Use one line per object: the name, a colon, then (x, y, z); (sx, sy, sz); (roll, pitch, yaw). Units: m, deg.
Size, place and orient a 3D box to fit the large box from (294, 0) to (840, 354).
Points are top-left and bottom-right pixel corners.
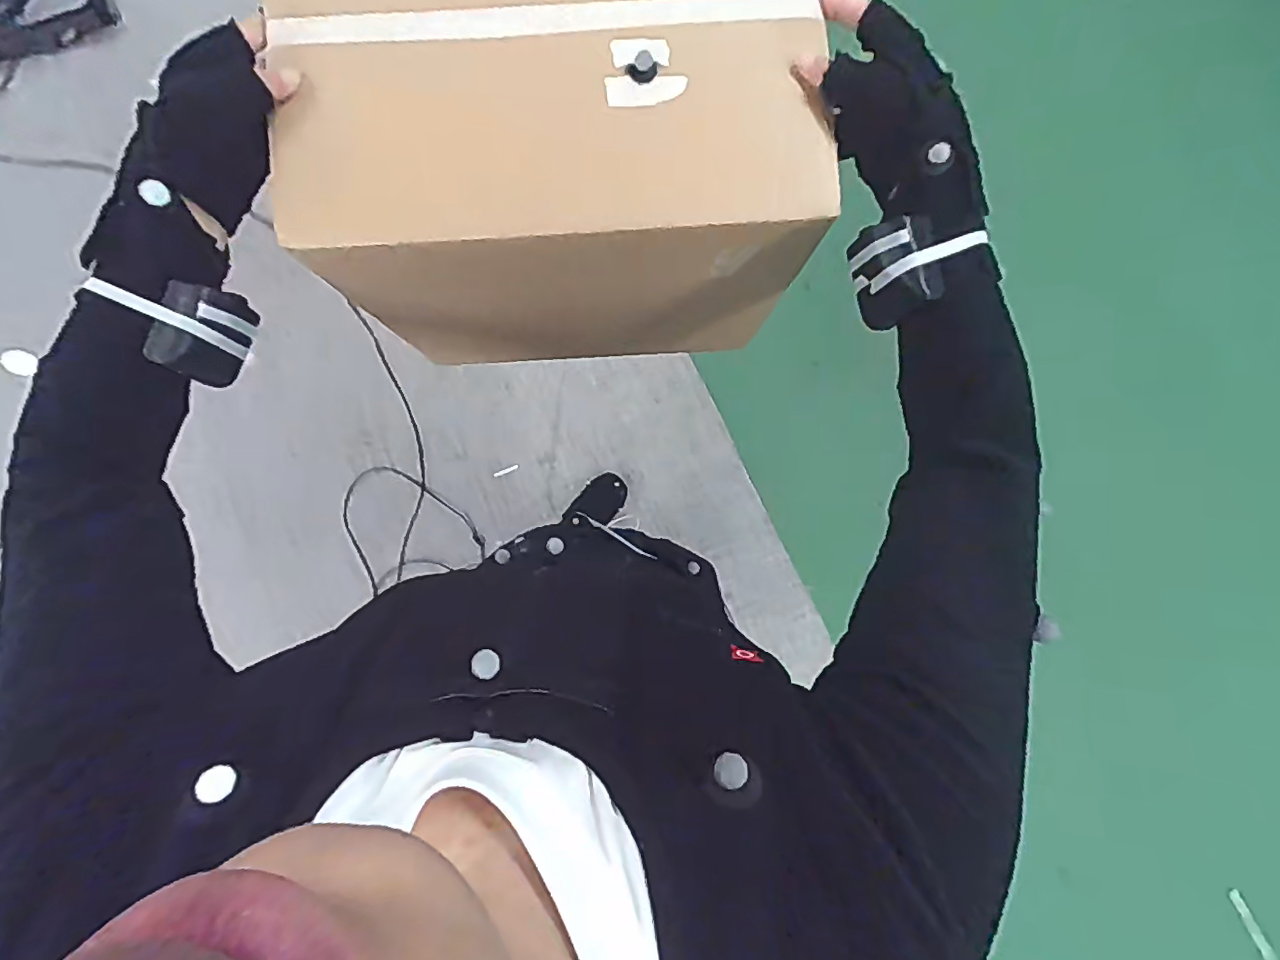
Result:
large box: (-0.063, -0.332, 0.554); (0.408, 0.320, 0.320); (-3, 87, -2)
